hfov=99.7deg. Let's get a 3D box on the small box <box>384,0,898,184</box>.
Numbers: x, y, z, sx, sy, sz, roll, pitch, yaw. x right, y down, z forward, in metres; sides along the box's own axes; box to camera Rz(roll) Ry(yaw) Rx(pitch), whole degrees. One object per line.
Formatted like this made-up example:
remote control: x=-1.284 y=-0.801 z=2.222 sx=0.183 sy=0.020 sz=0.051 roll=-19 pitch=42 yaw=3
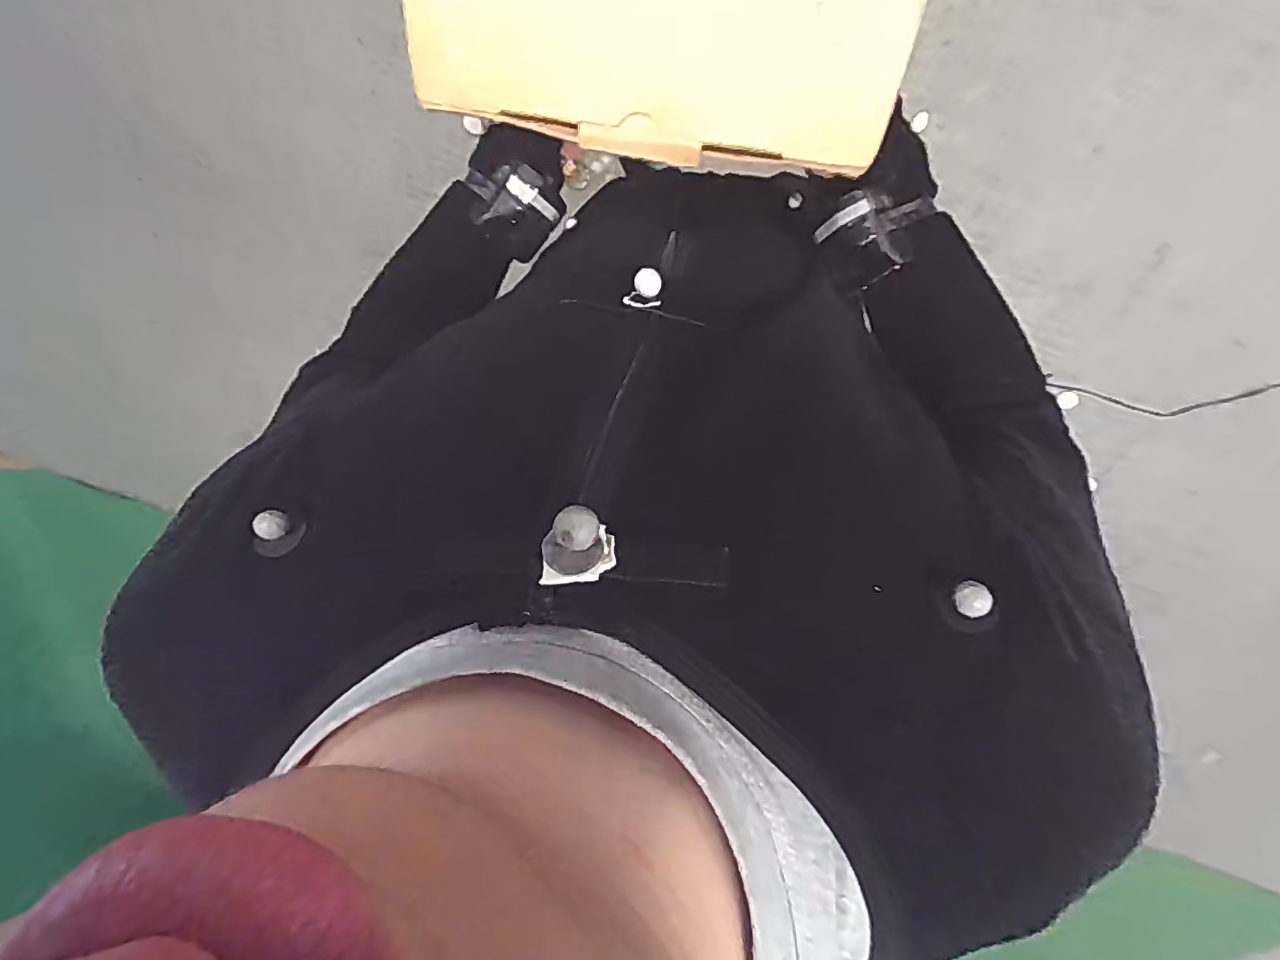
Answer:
small box: x=0.015 y=-0.235 z=0.204 sx=0.168 sy=0.176 sz=0.179 roll=11 pitch=128 yaw=2
